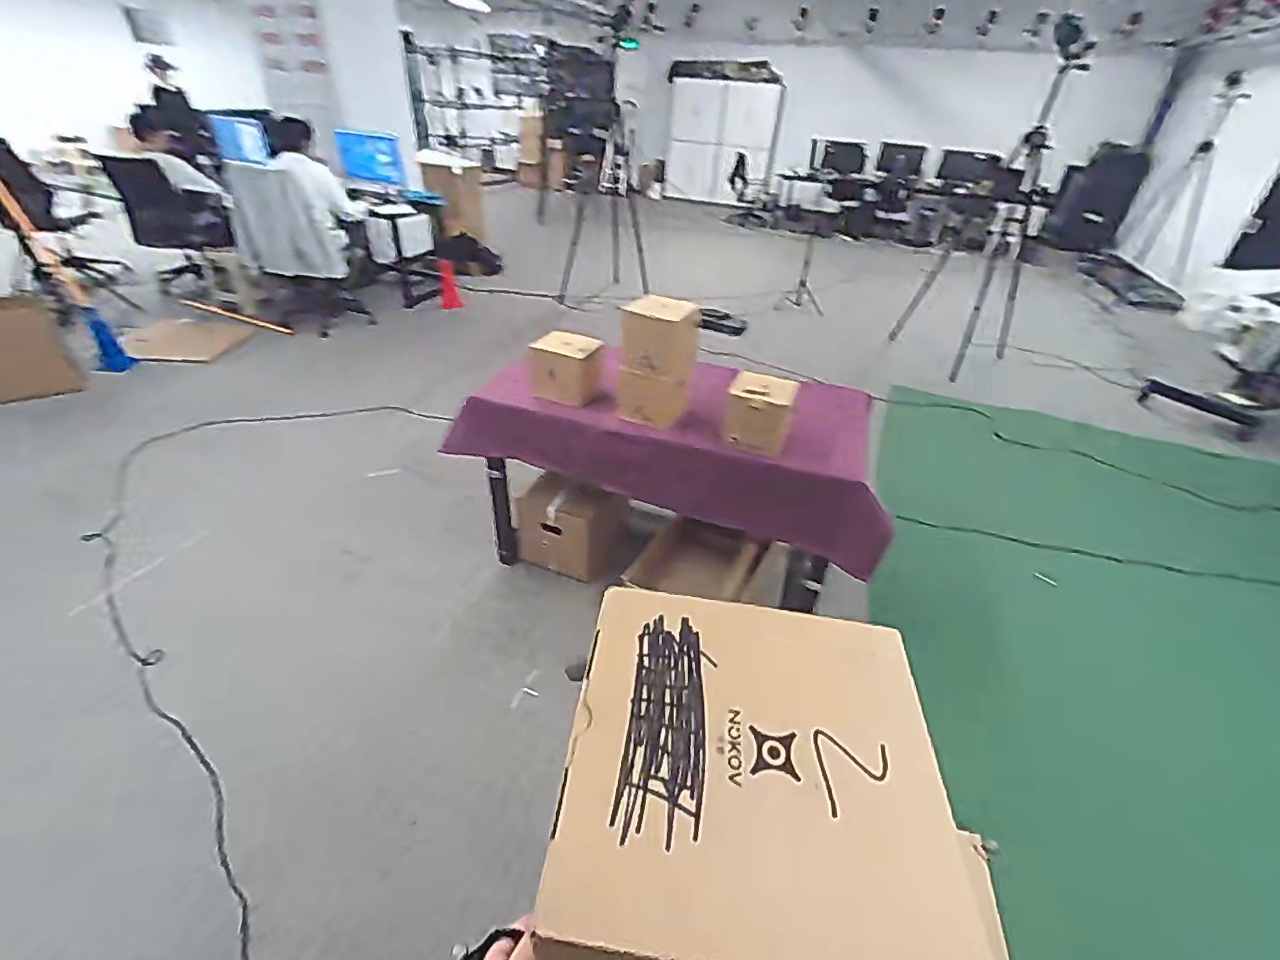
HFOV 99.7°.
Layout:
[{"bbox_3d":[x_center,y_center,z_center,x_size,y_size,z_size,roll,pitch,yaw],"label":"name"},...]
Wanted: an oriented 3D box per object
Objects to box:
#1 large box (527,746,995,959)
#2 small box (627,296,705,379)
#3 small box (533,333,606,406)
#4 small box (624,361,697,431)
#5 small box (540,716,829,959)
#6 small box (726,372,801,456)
[{"bbox_3d":[0.093,0.525,0.553,0.408,0.320,0.320,10,42,6],"label":"large box"},{"bbox_3d":[0.070,-0.412,1.553,0.168,0.176,0.179,19,38,22],"label":"small box"},{"bbox_3d":[-0.220,-0.350,1.723,0.179,0.176,0.168,15,37,17],"label":"small box"},{"bbox_3d":[0.057,-0.274,1.643,0.168,0.176,0.179,19,39,21],"label":"small box"},{"bbox_3d":[0.030,0.313,0.418,0.179,0.176,0.168,7,40,4],"label":"small box"},{"bbox_3d":[0.350,-0.188,1.543,0.168,0.176,0.179,16,36,17],"label":"small box"}]
